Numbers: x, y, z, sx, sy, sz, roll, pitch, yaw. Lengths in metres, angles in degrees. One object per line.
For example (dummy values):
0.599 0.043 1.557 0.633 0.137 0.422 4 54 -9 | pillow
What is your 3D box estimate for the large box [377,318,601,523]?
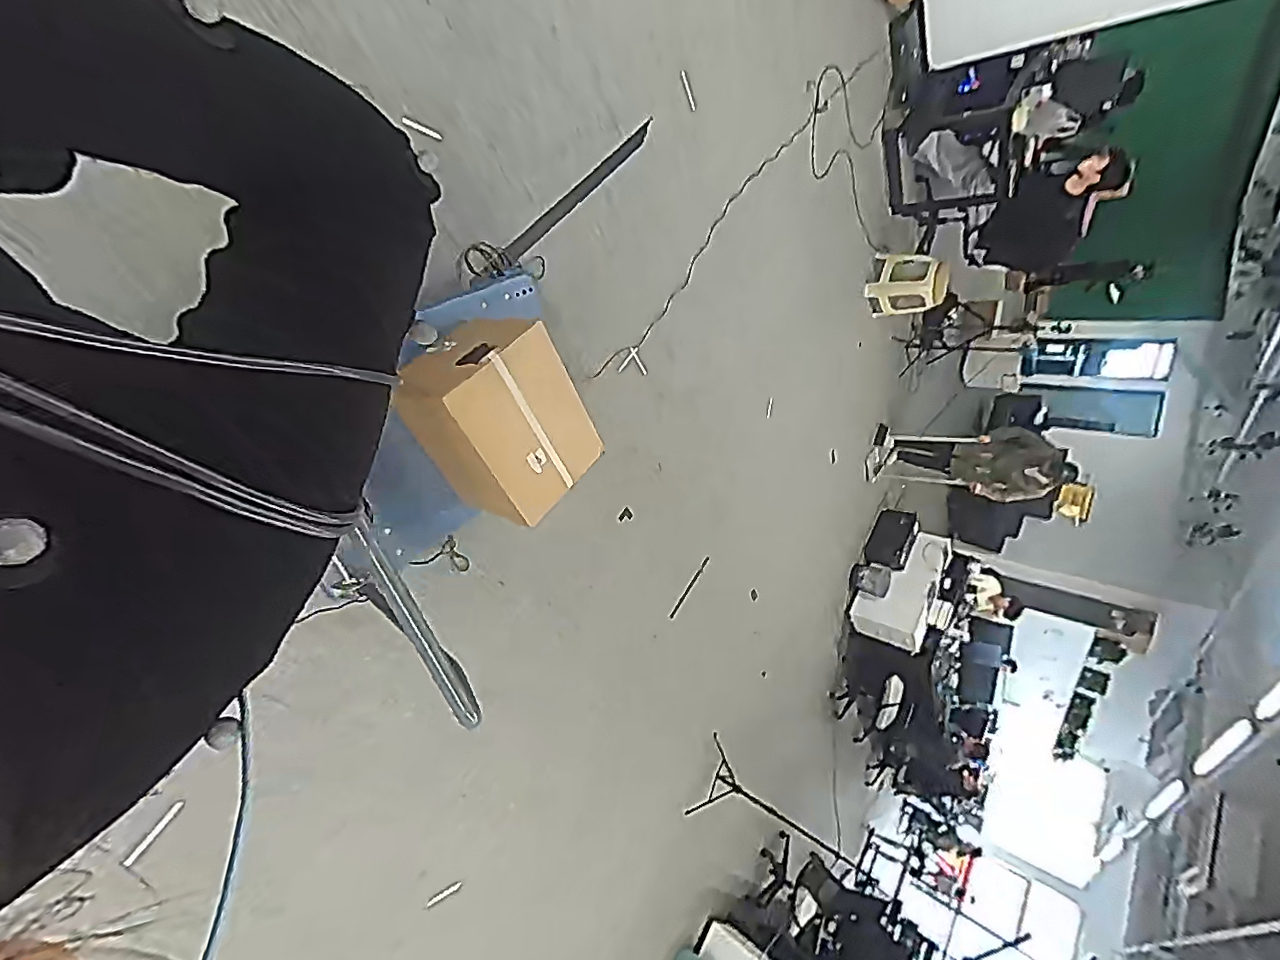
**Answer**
-0.370 -0.159 1.385 0.320 0.320 0.408 -49 134 -28 | large box
